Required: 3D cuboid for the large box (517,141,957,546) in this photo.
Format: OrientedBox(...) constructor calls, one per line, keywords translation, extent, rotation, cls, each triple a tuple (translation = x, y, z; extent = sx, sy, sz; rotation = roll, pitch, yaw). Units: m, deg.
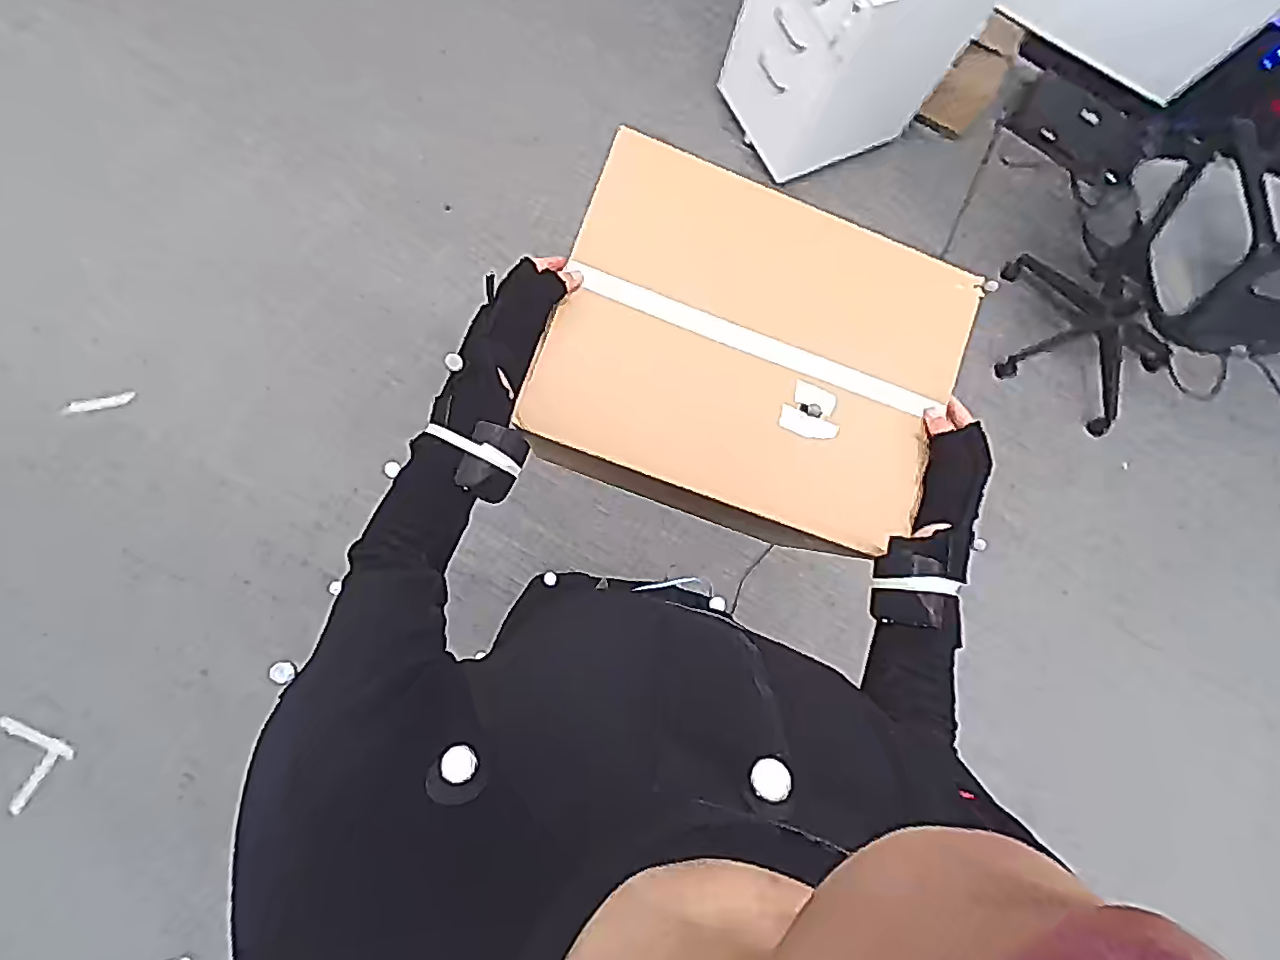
OrientedBox(translation=(0.090, -0.127, 0.693), extent=(0.408, 0.320, 0.320), rotation=(19, 85, -7), cls="large box")
